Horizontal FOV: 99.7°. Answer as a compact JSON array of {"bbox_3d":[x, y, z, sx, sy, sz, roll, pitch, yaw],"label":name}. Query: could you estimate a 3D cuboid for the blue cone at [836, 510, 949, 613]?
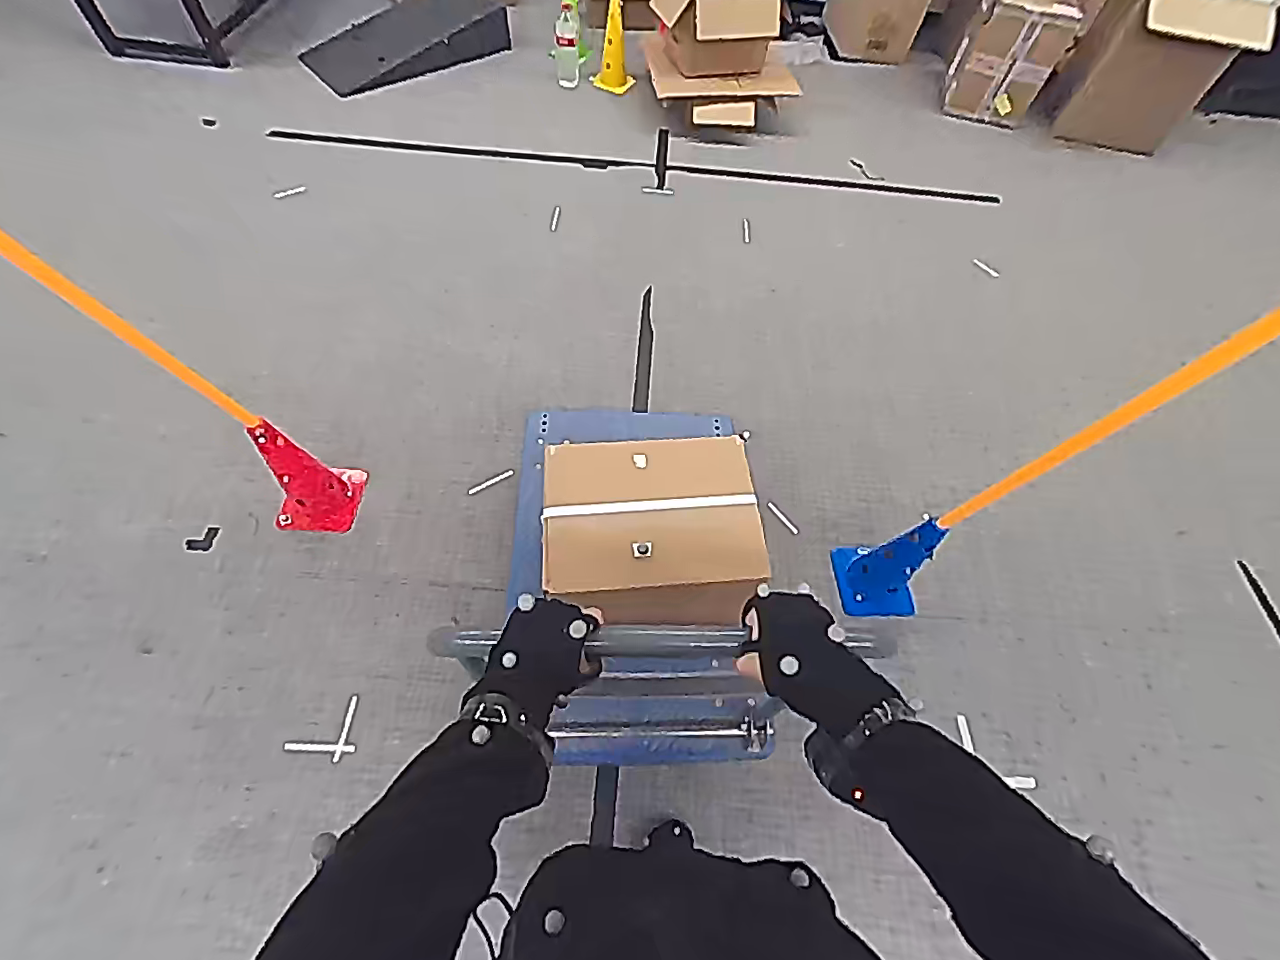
[{"bbox_3d":[0.661,0.189,1.356,0.193,0.380,0.192,2,58,-4],"label":"blue cone"}]
